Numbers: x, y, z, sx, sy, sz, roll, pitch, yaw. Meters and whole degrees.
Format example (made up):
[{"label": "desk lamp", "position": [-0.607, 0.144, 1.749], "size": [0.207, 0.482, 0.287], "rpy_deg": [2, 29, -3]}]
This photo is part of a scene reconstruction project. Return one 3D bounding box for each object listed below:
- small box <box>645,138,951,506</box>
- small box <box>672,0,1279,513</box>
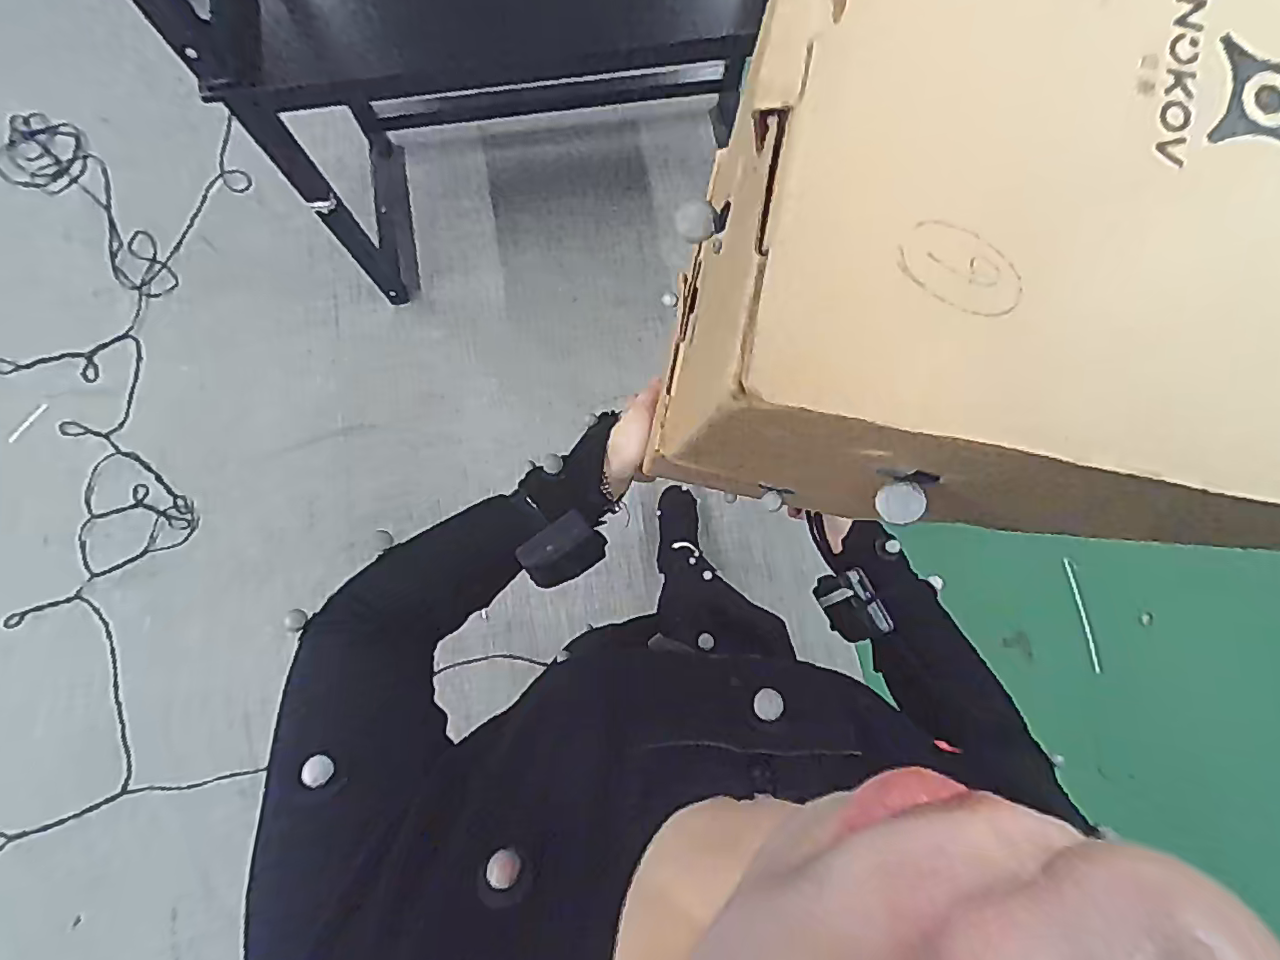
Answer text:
[{"label": "small box", "position": [0.103, -0.077, 0.357], "size": [0.179, 0.176, 0.168], "rpy_deg": [12, 87, -2]}, {"label": "small box", "position": [0.112, -0.082, 0.193], "size": [0.179, 0.176, 0.168], "rpy_deg": [11, 88, -1]}]
